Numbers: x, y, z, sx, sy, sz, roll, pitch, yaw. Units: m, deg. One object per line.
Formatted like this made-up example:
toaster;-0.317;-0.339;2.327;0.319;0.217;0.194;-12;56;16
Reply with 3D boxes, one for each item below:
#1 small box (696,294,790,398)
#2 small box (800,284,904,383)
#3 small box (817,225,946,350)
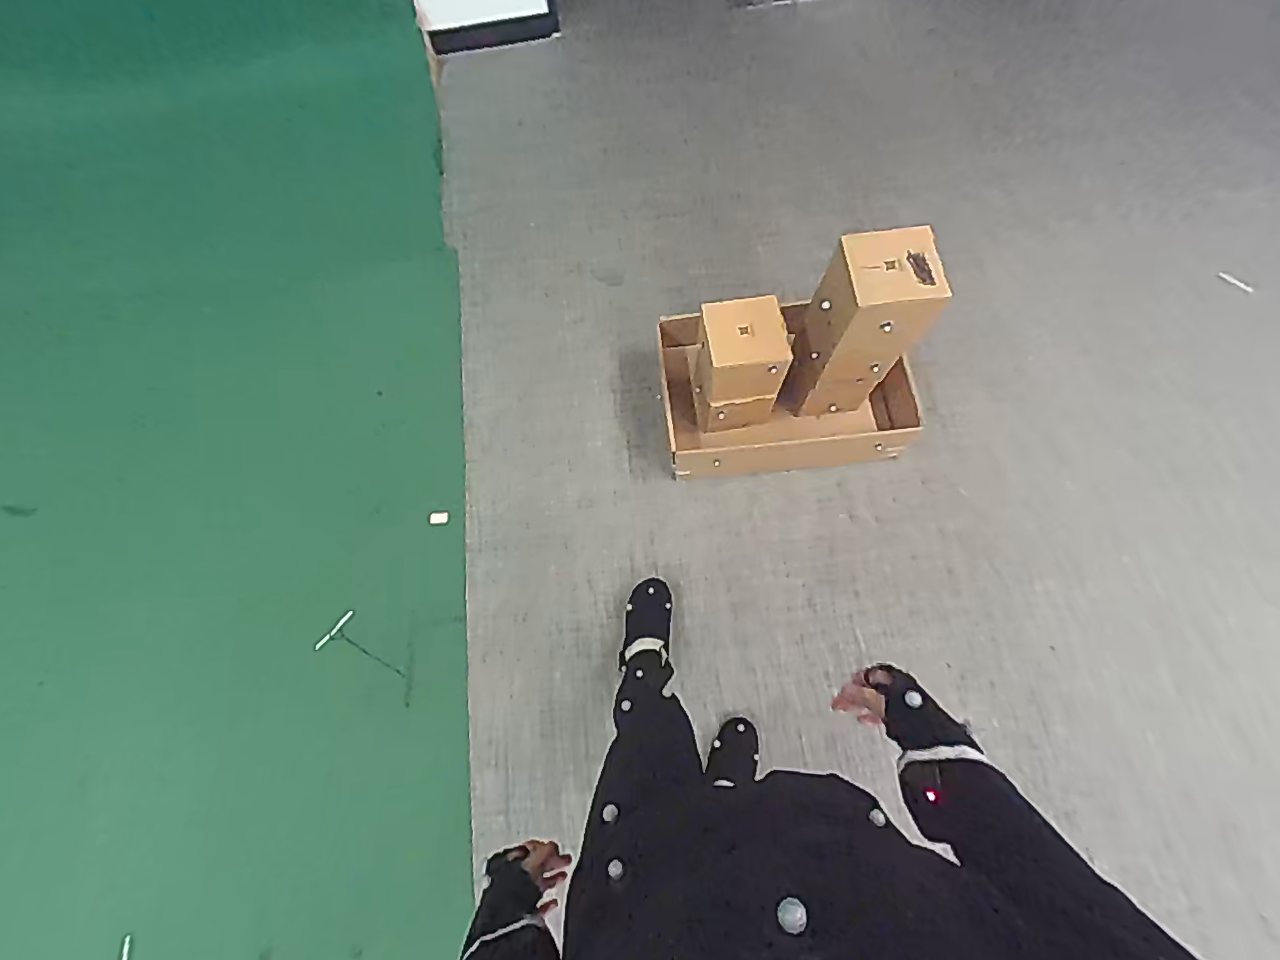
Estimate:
small box;0.230;-0.305;1.262;0.179;0.176;0.168;-8;72;-2
small box;0.484;-0.339;1.259;0.168;0.176;0.179;-6;72;1
small box;0.480;-0.385;1.102;0.179;0.176;0.168;-6;72;2
